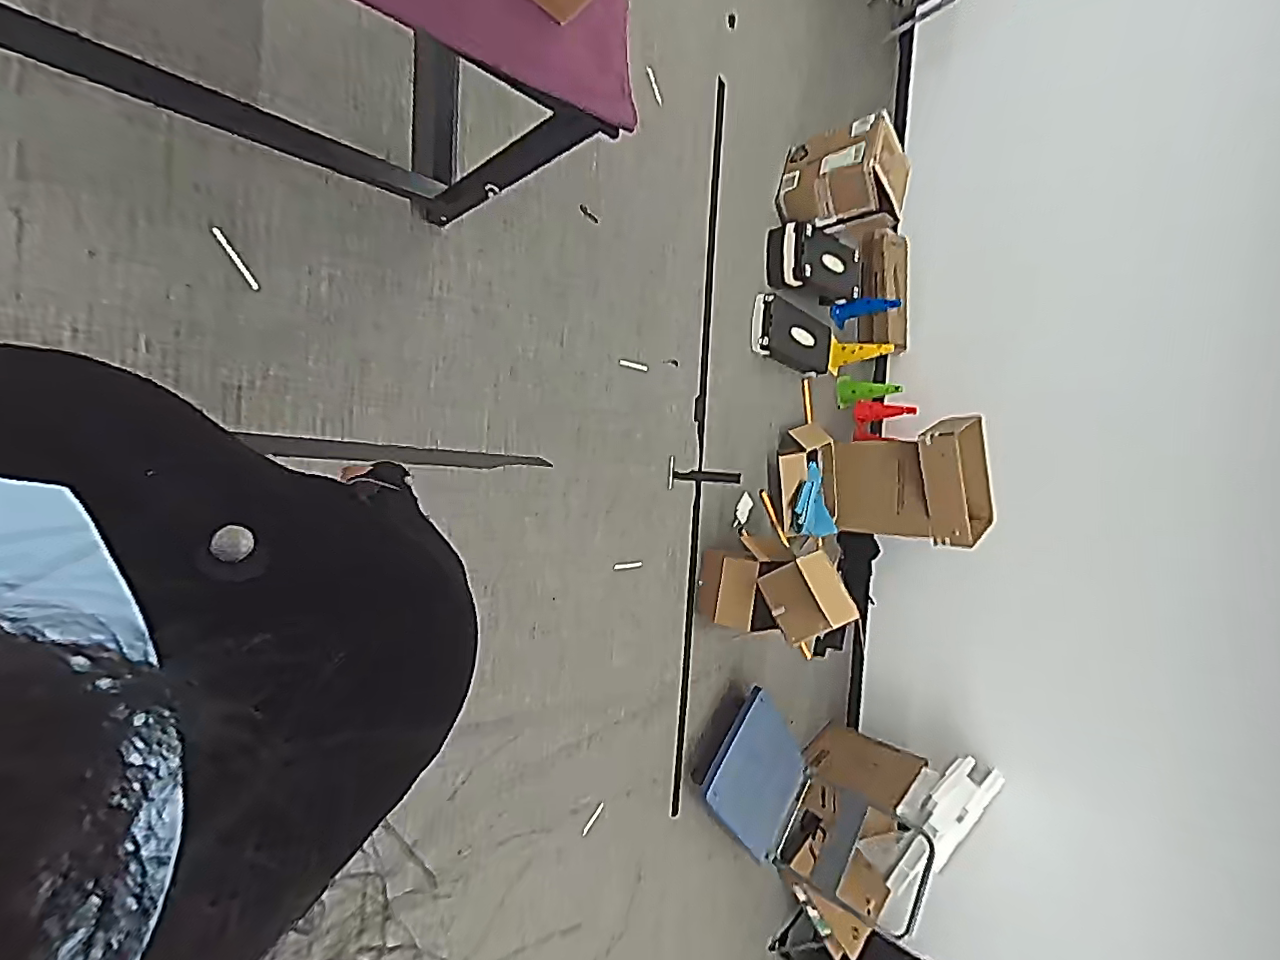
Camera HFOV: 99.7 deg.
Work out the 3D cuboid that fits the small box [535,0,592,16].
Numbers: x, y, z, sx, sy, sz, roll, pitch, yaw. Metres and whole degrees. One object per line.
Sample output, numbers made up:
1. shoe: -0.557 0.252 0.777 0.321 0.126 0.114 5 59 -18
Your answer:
1. small box: -0.123 -0.864 0.819 0.179 0.176 0.168 6 89 -45
